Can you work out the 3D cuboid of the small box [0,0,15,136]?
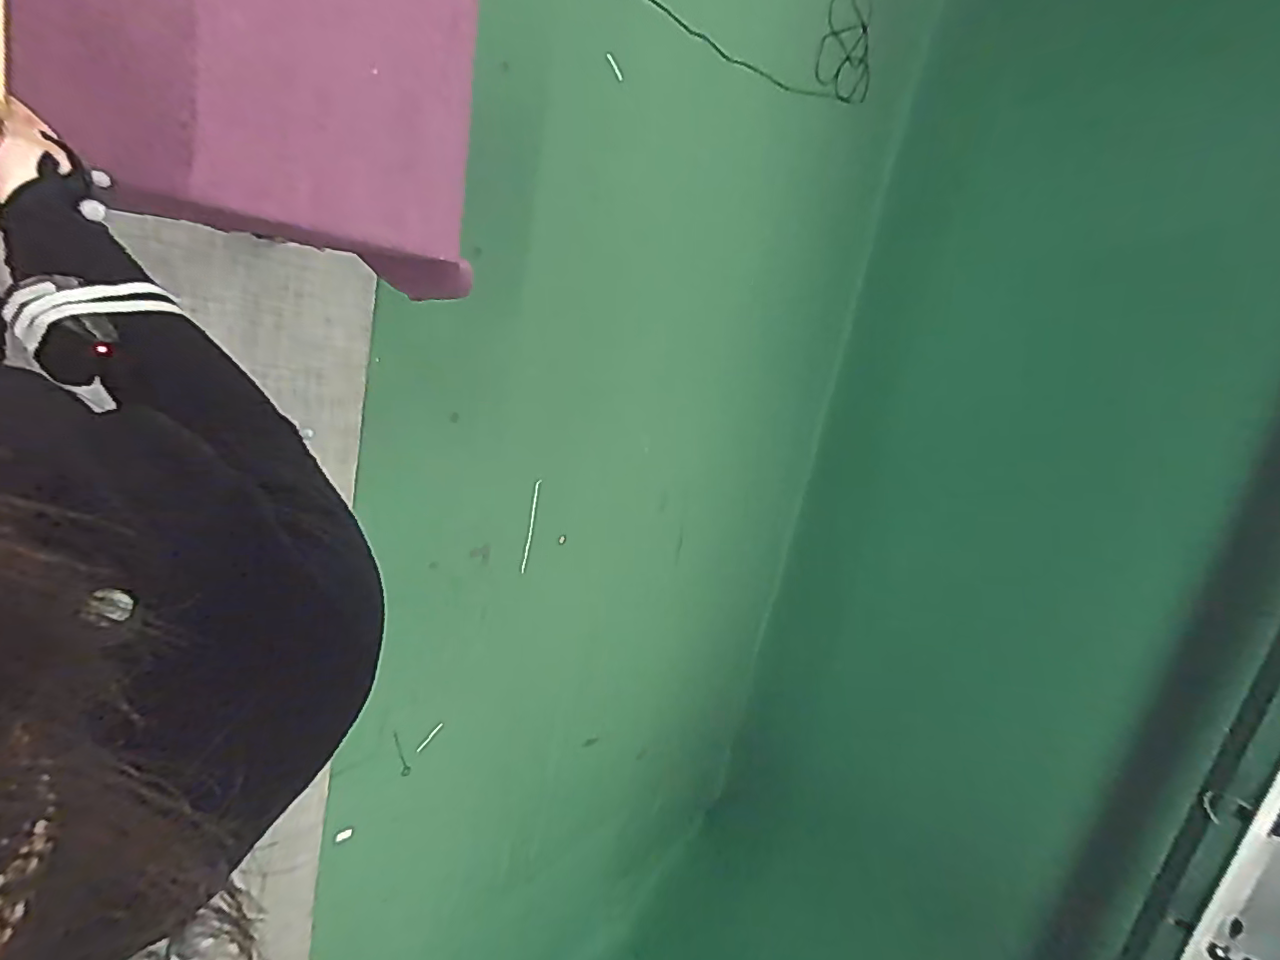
[{"bbox_3d":[-0.527,-0.354,0.344,0.168,0.176,0.179,-1,107,-49],"label":"small box"}]
